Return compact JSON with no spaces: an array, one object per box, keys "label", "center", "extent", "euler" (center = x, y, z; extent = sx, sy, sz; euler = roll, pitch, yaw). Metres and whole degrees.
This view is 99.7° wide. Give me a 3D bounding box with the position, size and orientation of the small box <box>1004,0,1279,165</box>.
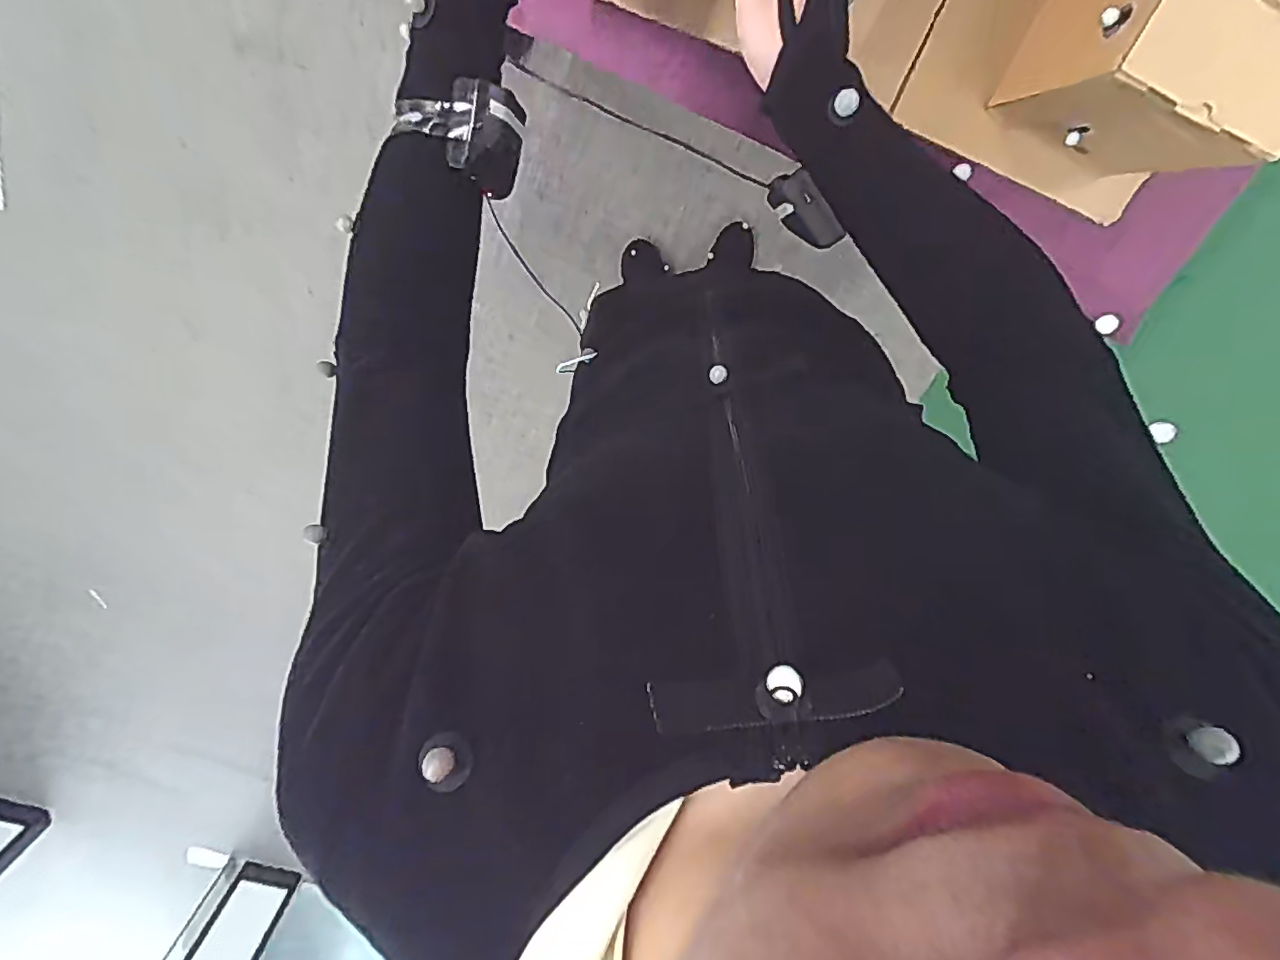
[{"label":"small box","center":[0.455,-0.384,0.443],"extent":[0.168,0.176,0.179],"euler":[17,116,-10]}]
